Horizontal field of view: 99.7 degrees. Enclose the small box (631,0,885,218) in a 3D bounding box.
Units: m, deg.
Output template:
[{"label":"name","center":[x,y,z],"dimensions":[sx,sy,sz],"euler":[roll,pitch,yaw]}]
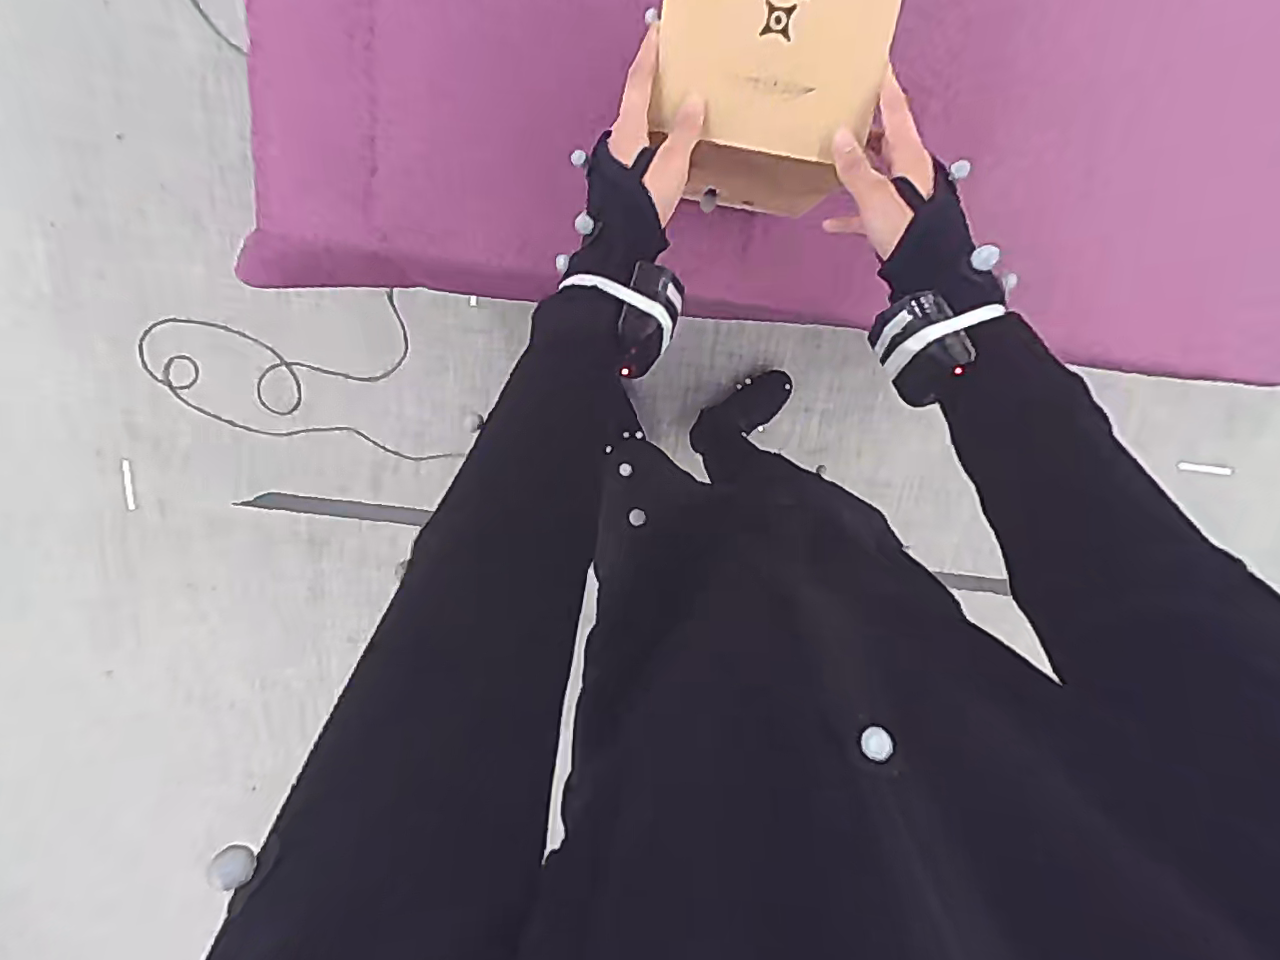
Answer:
[{"label":"small box","center":[0.087,-0.344,0.453],"dimensions":[0.168,0.176,0.179],"euler":[9,104,-1]}]
